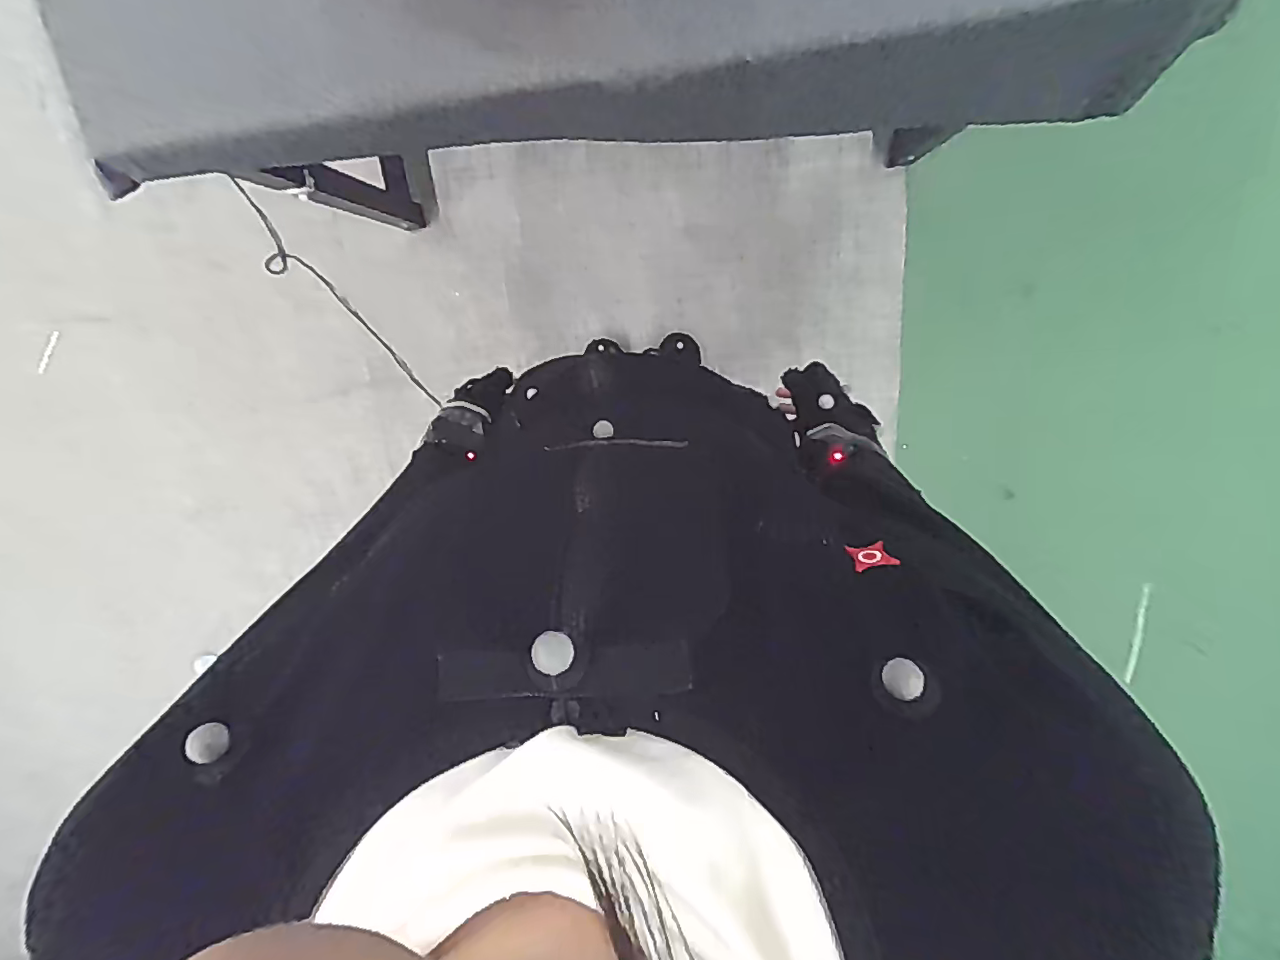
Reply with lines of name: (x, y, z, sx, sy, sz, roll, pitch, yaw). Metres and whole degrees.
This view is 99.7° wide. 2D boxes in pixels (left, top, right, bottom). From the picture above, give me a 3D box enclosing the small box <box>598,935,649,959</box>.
small box: (-0.060, 1.761, 1.919, 0.179, 0.176, 0.168, -5, 107, 4)
